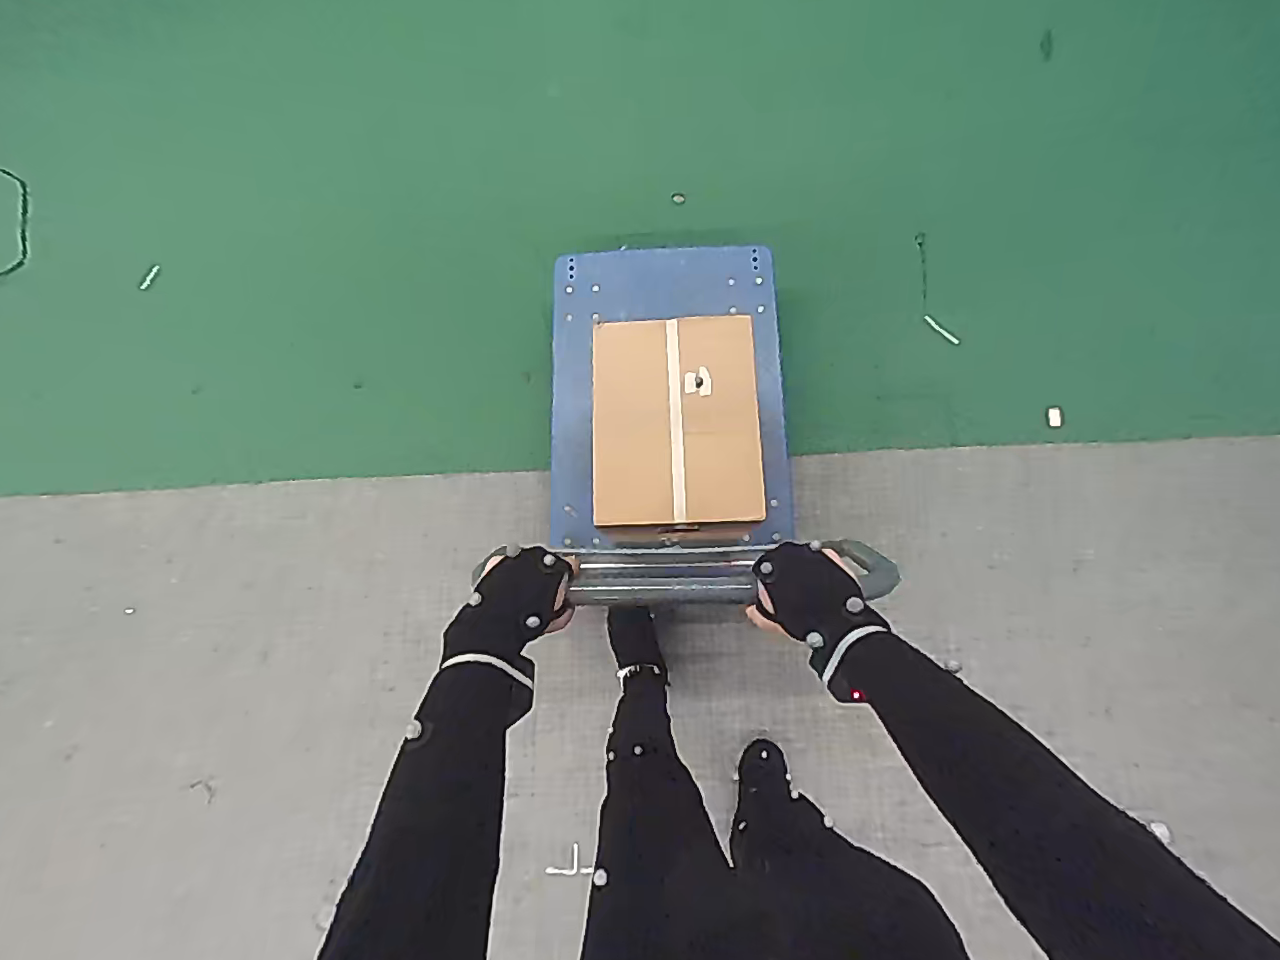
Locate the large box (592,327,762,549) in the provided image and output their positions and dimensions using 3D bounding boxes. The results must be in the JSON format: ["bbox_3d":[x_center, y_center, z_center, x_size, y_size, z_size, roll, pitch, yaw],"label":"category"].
[{"bbox_3d":[0.073,-0.069,1.178,0.320,0.320,0.408,-2,77,3],"label":"large box"}]
